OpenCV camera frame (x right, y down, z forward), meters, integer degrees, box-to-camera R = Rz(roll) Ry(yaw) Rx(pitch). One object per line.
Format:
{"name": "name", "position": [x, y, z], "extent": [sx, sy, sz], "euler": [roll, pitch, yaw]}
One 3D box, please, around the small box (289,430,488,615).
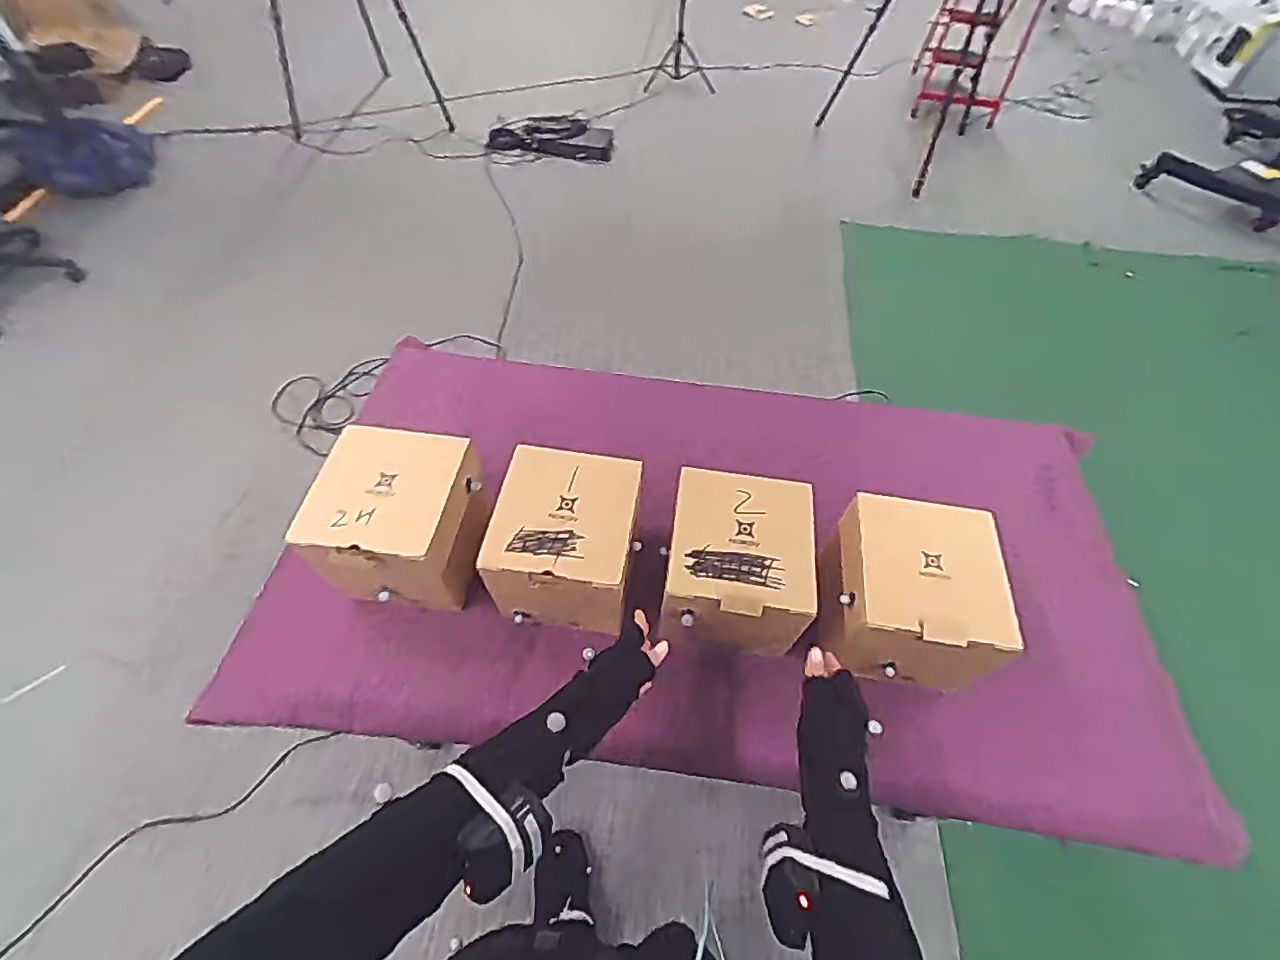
{"name": "small box", "position": [-0.314, 0.059, 0.724], "extent": [0.168, 0.176, 0.179], "euler": [7, 56, 3]}

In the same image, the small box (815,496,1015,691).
{"name": "small box", "position": [0.329, 0.148, 0.690], "extent": [0.168, 0.176, 0.179], "euler": [9, 55, 4]}
